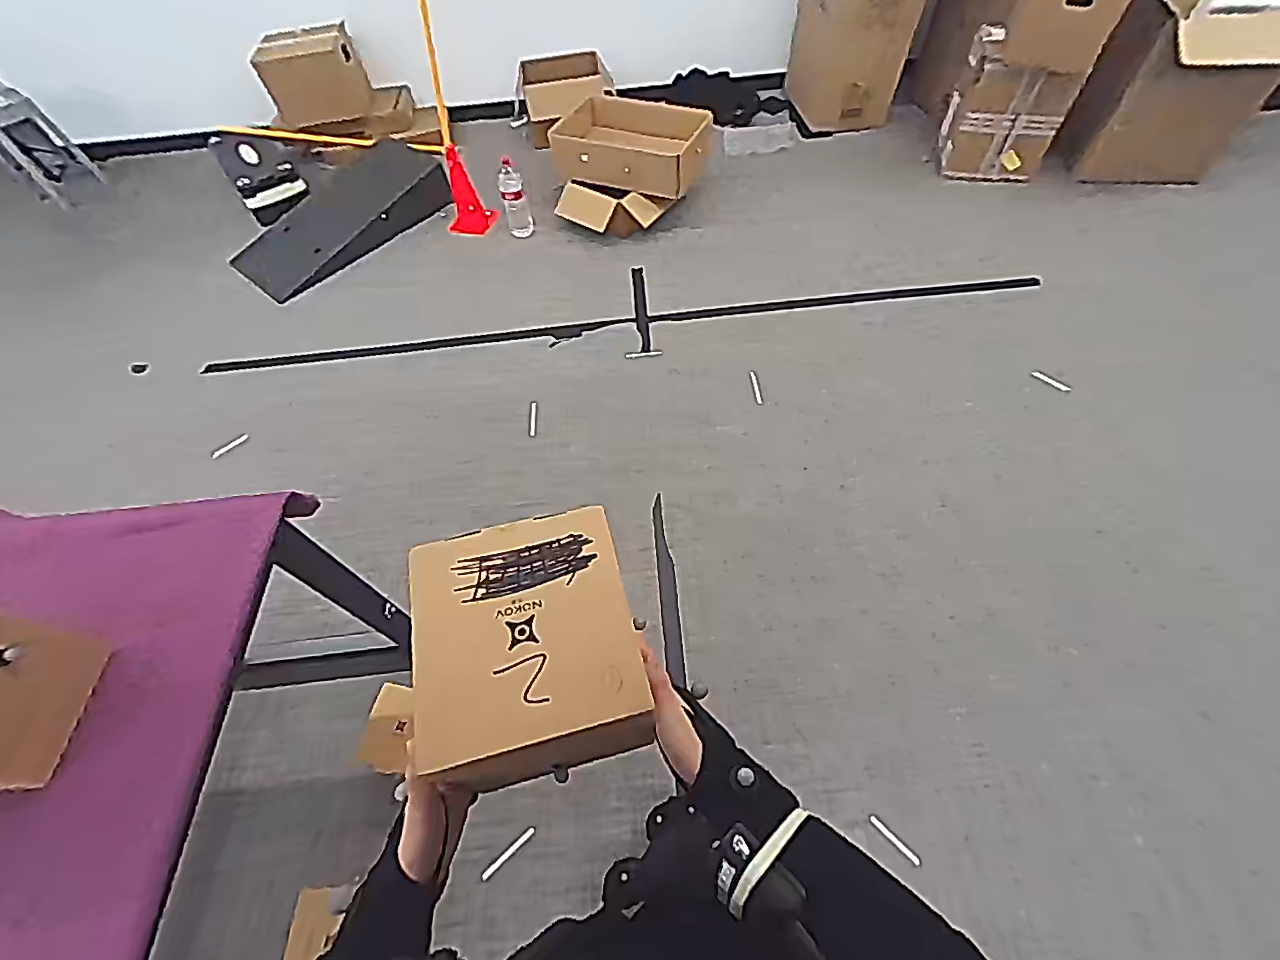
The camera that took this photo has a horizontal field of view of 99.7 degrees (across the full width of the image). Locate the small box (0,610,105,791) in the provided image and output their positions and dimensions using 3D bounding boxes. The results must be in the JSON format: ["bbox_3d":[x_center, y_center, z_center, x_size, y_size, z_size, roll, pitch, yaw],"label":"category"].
[{"bbox_3d":[-0.824,0.273,0.655,0.168,0.176,0.179,-5,57,2],"label":"small box"}]

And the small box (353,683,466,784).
[{"bbox_3d":[-0.536,0.608,1.291,0.168,0.176,0.179,9,58,9],"label":"small box"}]

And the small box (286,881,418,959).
[{"bbox_3d":[-0.574,0.919,1.091,0.179,0.176,0.168,-5,56,2],"label":"small box"}]
